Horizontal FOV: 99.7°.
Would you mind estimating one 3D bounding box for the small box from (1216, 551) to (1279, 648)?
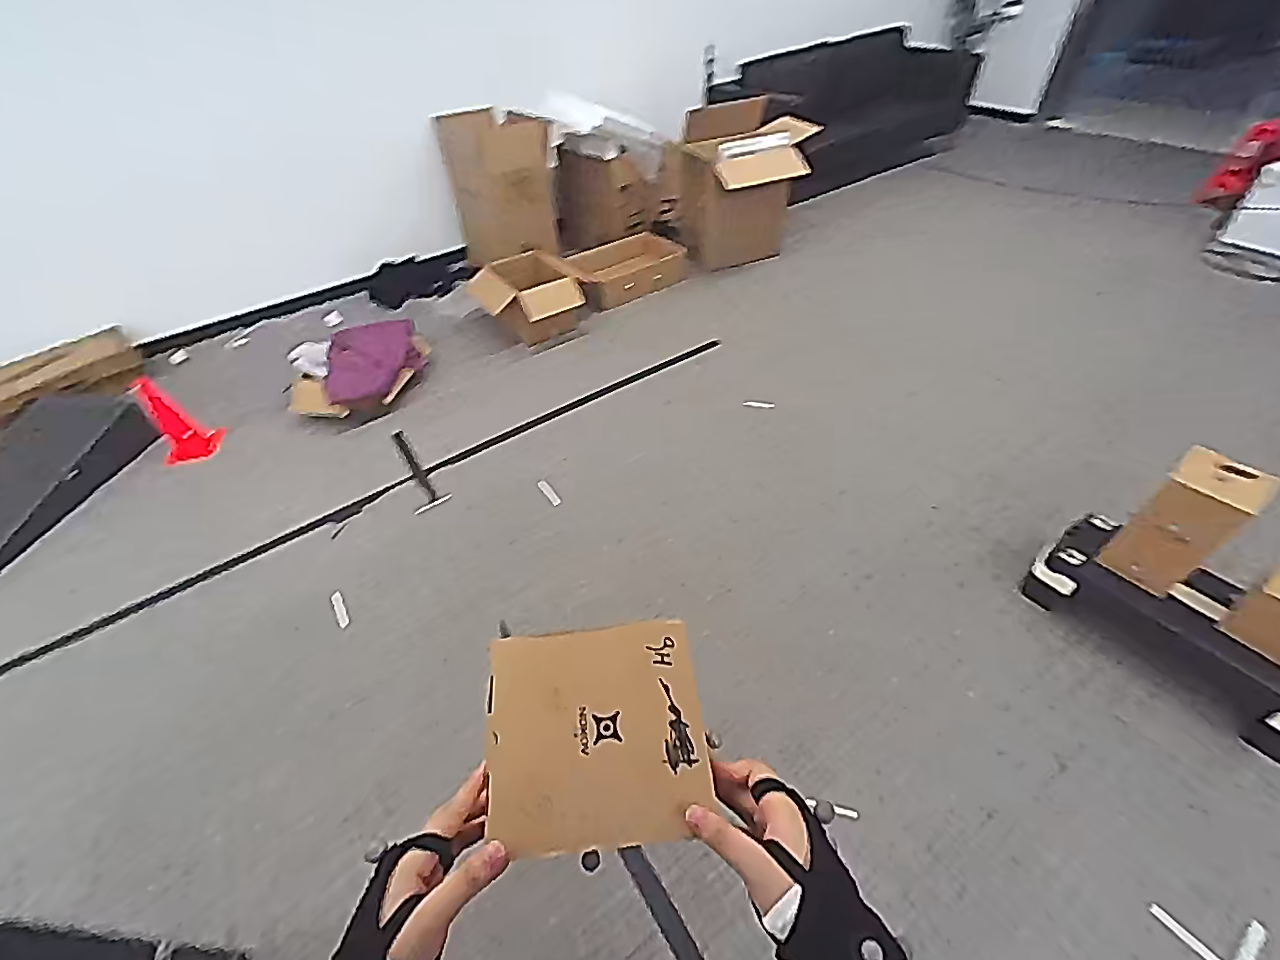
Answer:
[{"bbox_3d":[1.553,0.312,1.300,0.168,0.176,0.179,-29,50,-24],"label":"small box"}]

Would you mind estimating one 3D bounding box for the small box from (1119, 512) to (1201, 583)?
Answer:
[{"bbox_3d":[1.384,0.160,1.464,0.179,0.176,0.168,-30,50,-24],"label":"small box"}]

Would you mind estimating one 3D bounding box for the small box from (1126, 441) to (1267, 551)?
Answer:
[{"bbox_3d":[1.379,0.040,1.351,0.179,0.176,0.168,-31,51,-24],"label":"small box"}]

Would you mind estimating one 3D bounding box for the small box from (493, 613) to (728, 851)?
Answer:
[{"bbox_3d":[-0.024,0.239,0.502,0.179,0.176,0.168,-5,56,-2],"label":"small box"}]

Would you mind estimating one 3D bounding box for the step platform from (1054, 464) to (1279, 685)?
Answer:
[{"bbox_3d":[1.443,0.246,1.323,0.286,0.204,0.684,-30,51,-24],"label":"step platform"}]
